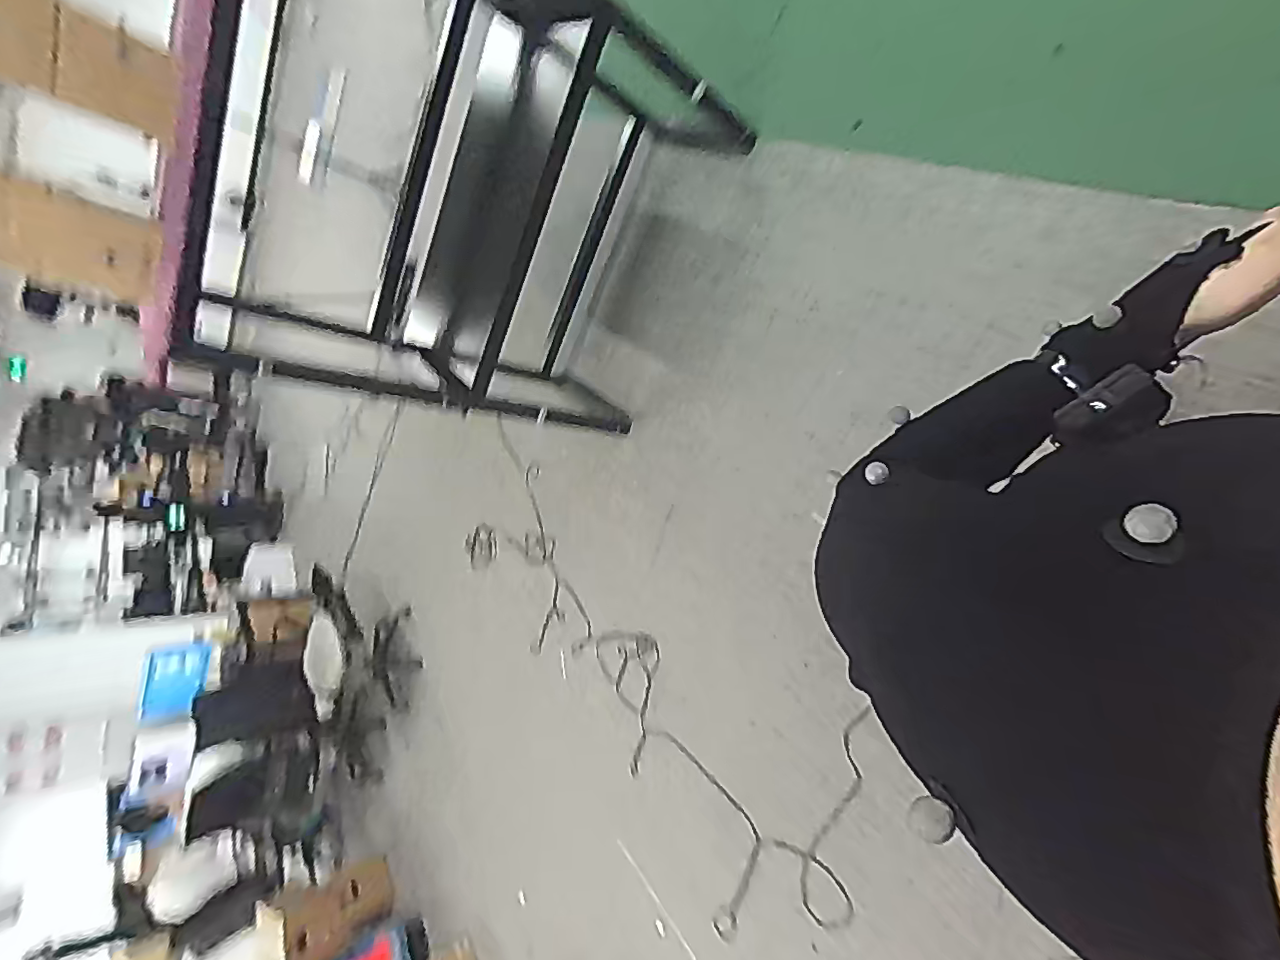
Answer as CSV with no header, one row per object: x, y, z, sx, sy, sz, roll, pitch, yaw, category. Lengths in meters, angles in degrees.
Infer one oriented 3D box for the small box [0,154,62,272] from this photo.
-1.215,-0.513,1.012,0.168,0.176,0.179,37,111,38,small box

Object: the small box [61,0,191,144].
-0.979,-0.783,1.036,0.168,0.176,0.179,39,114,40,small box

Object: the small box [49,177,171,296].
-1.104,-0.502,1.130,0.179,0.176,0.168,39,112,39,small box
